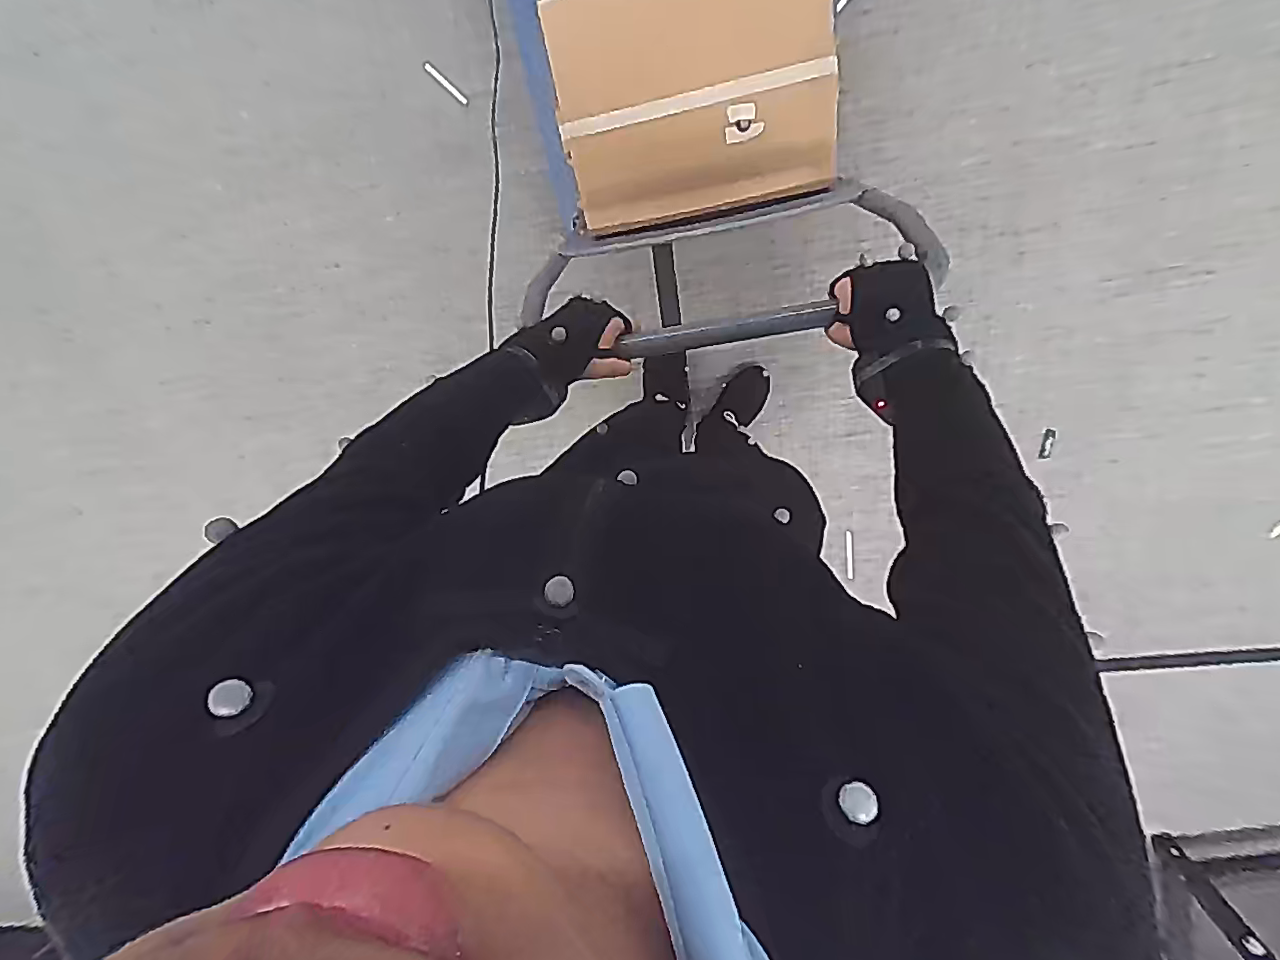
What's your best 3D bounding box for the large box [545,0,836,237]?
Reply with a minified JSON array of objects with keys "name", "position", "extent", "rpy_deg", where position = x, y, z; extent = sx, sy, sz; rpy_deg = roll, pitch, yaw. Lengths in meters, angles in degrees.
[{"name":"large box","position":[0.093,-0.647,0.947],"extent":[0.408,0.320,0.320],"rpy_deg":[-9,120,8]}]
